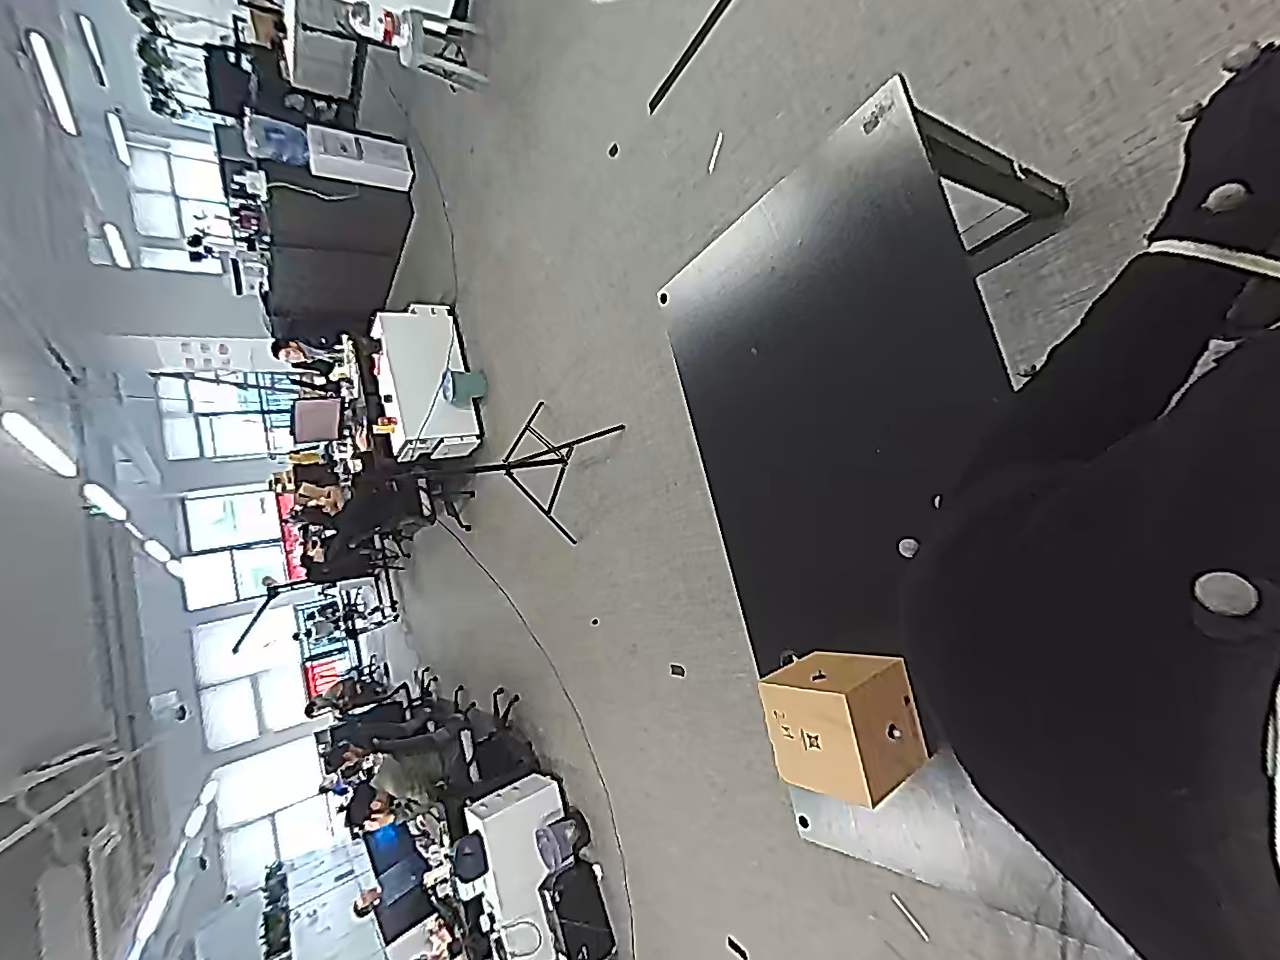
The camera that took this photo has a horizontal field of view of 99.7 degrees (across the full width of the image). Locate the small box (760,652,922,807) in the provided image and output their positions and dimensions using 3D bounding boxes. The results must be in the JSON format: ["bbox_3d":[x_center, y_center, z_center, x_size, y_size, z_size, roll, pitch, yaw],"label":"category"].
[{"bbox_3d":[0.331,0.389,0.881,0.179,0.176,0.168,-20,80,55],"label":"small box"}]
